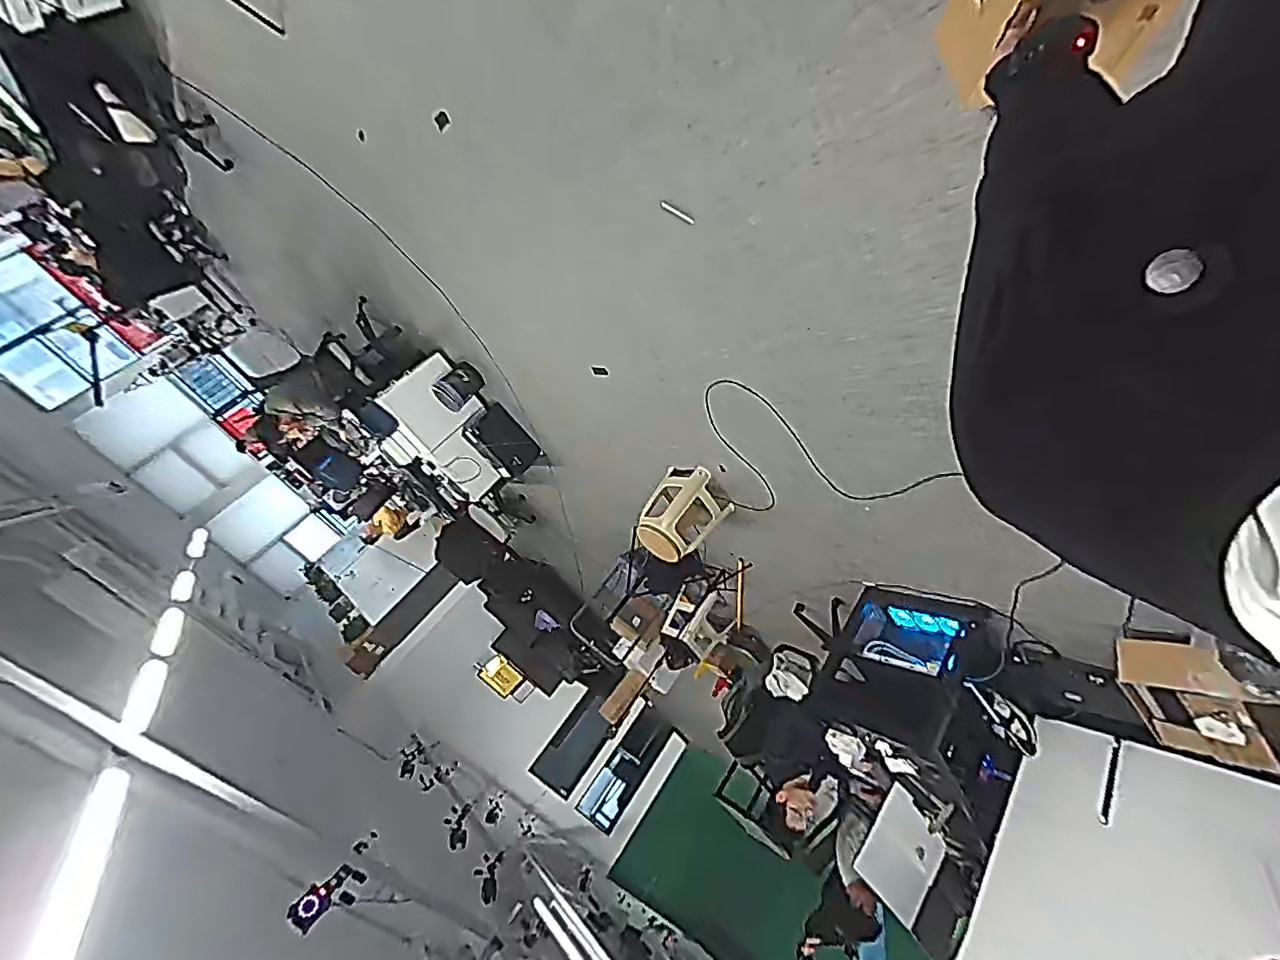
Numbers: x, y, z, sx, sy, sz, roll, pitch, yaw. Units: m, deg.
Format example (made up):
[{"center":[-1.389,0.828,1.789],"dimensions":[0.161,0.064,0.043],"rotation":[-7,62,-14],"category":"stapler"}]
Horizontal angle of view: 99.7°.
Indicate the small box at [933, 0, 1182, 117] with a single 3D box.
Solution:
[{"center":[0.486,-0.557,0.633],"dimensions":[0.176,0.179,0.168],"rotation":[4,151,-3],"category":"small box"}]
